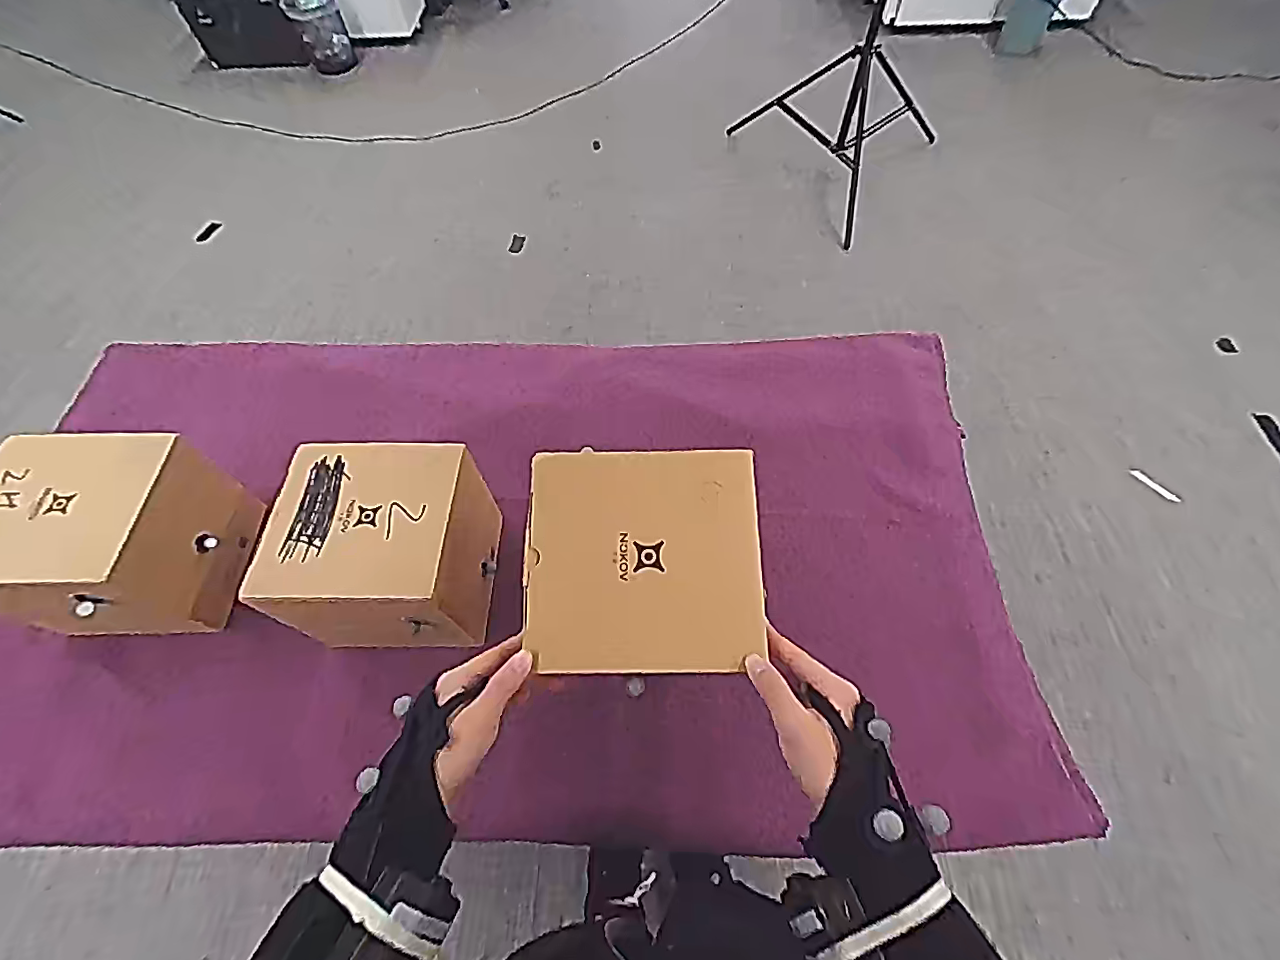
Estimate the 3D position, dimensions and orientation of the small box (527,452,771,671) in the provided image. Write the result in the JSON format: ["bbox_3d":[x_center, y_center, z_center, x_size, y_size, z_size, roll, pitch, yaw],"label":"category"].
[{"bbox_3d":[0.008,0.081,0.482,0.179,0.176,0.168,-2,71,3],"label":"small box"}]

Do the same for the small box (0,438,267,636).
[{"bbox_3d":[-0.563,0.069,0.597,0.179,0.176,0.168,-1,59,-1],"label":"small box"}]
